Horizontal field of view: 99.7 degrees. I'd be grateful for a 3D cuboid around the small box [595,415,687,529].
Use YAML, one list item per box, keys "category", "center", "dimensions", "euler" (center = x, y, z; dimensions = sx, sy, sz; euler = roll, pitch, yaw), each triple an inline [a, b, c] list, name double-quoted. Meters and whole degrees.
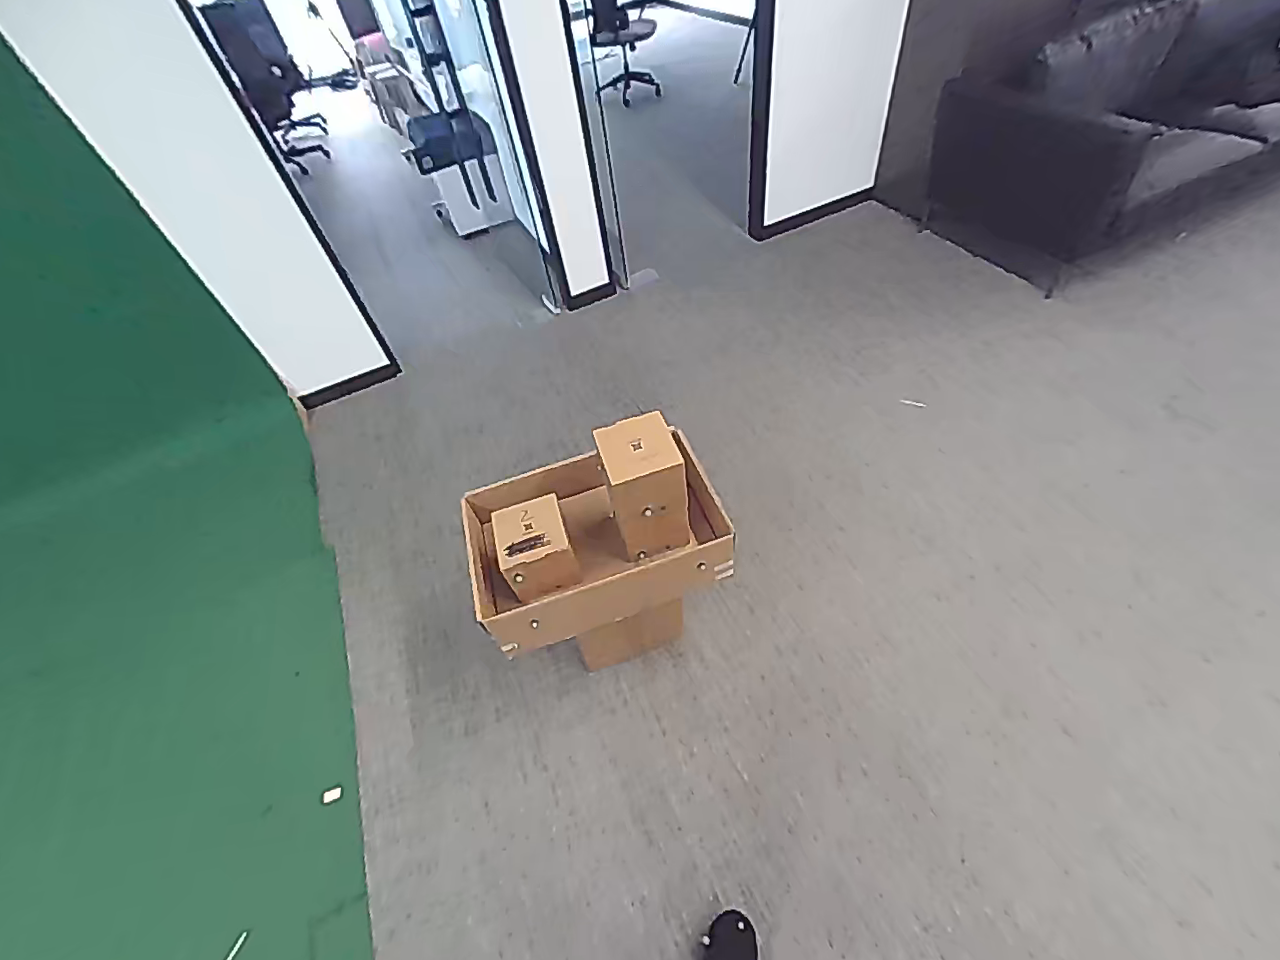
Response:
- category: "small box"
  center: [0.004, -0.017, 1.254]
  dimensions: [0.168, 0.176, 0.179]
  euler: [-18, 51, -5]
